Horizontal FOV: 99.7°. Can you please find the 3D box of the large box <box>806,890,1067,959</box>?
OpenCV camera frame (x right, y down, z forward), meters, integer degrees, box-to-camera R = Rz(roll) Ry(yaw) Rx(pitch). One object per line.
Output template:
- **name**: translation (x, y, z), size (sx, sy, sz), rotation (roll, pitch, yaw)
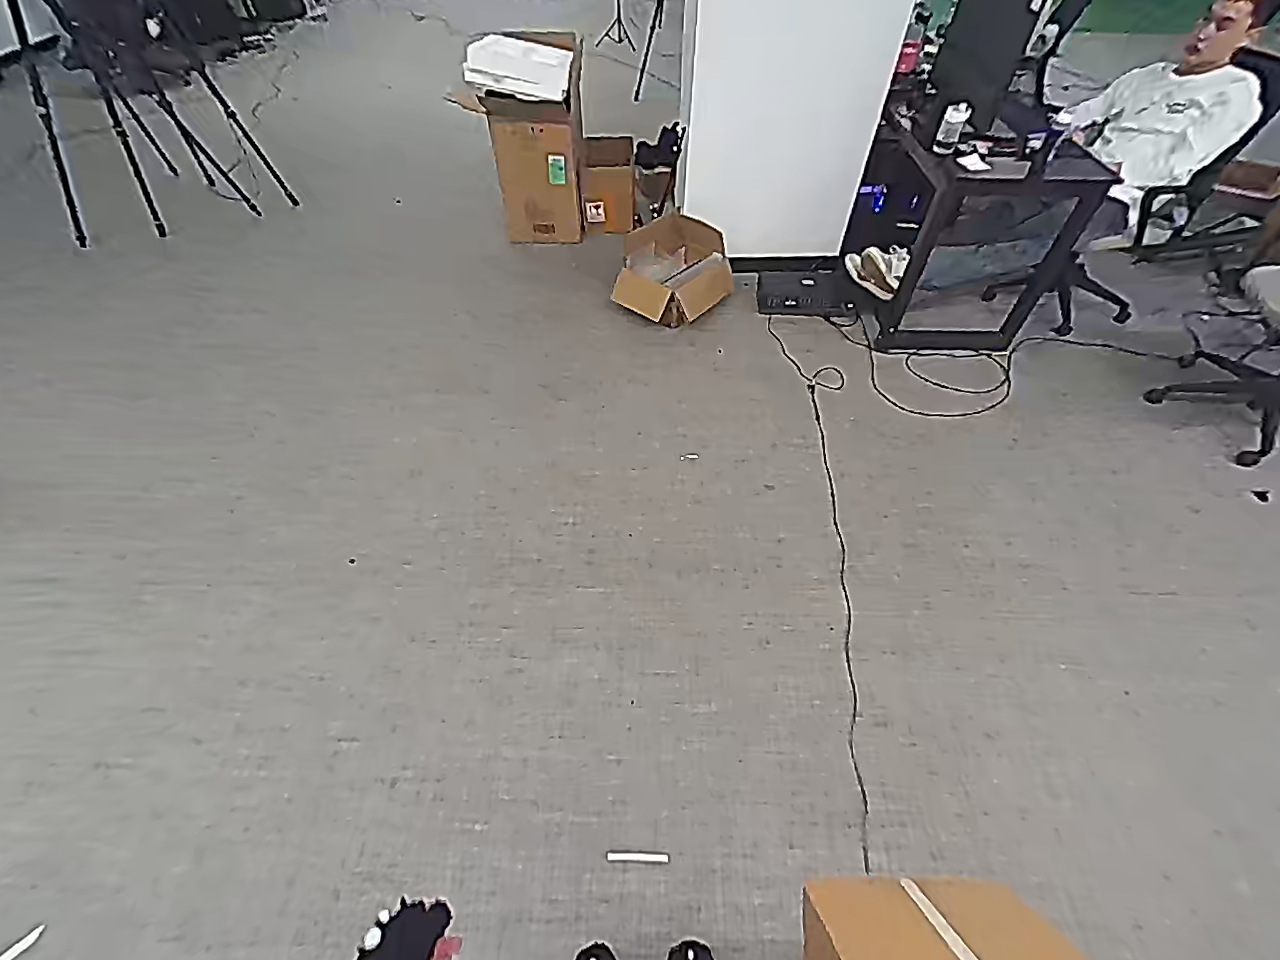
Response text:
- **large box**: translation (0.401, 0.757, 0.610), size (0.320, 0.408, 0.320), rotation (1, 83, -1)
